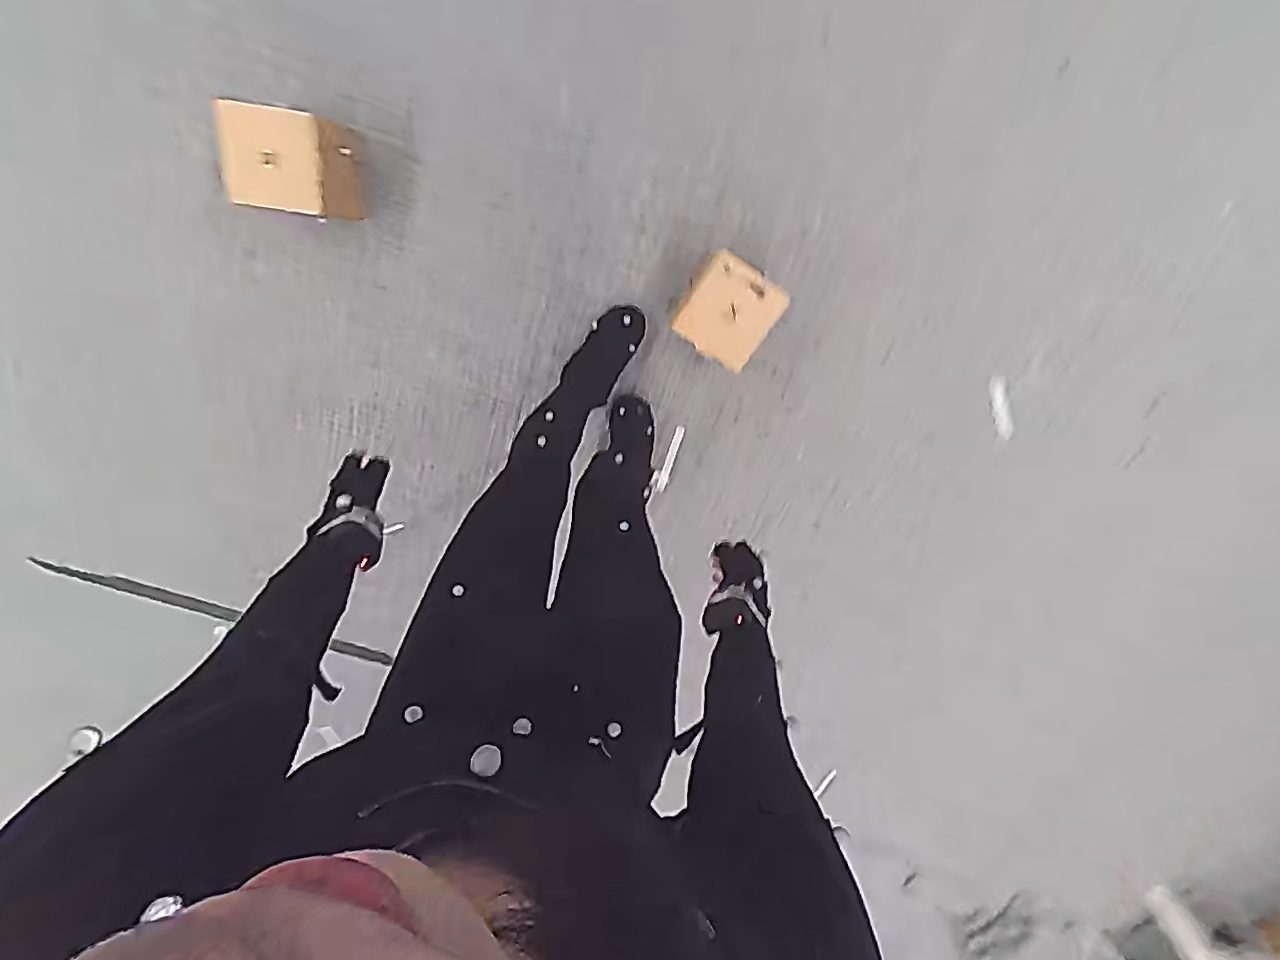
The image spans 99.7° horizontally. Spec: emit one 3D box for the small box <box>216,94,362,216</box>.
[{"bbox_3d":[-0.656,-0.611,1.039,0.179,0.176,0.168,8,112,-1],"label":"small box"}]

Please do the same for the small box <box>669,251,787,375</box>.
[{"bbox_3d":[0.176,-0.351,1.124,0.168,0.176,0.179,32,112,-12],"label":"small box"}]
